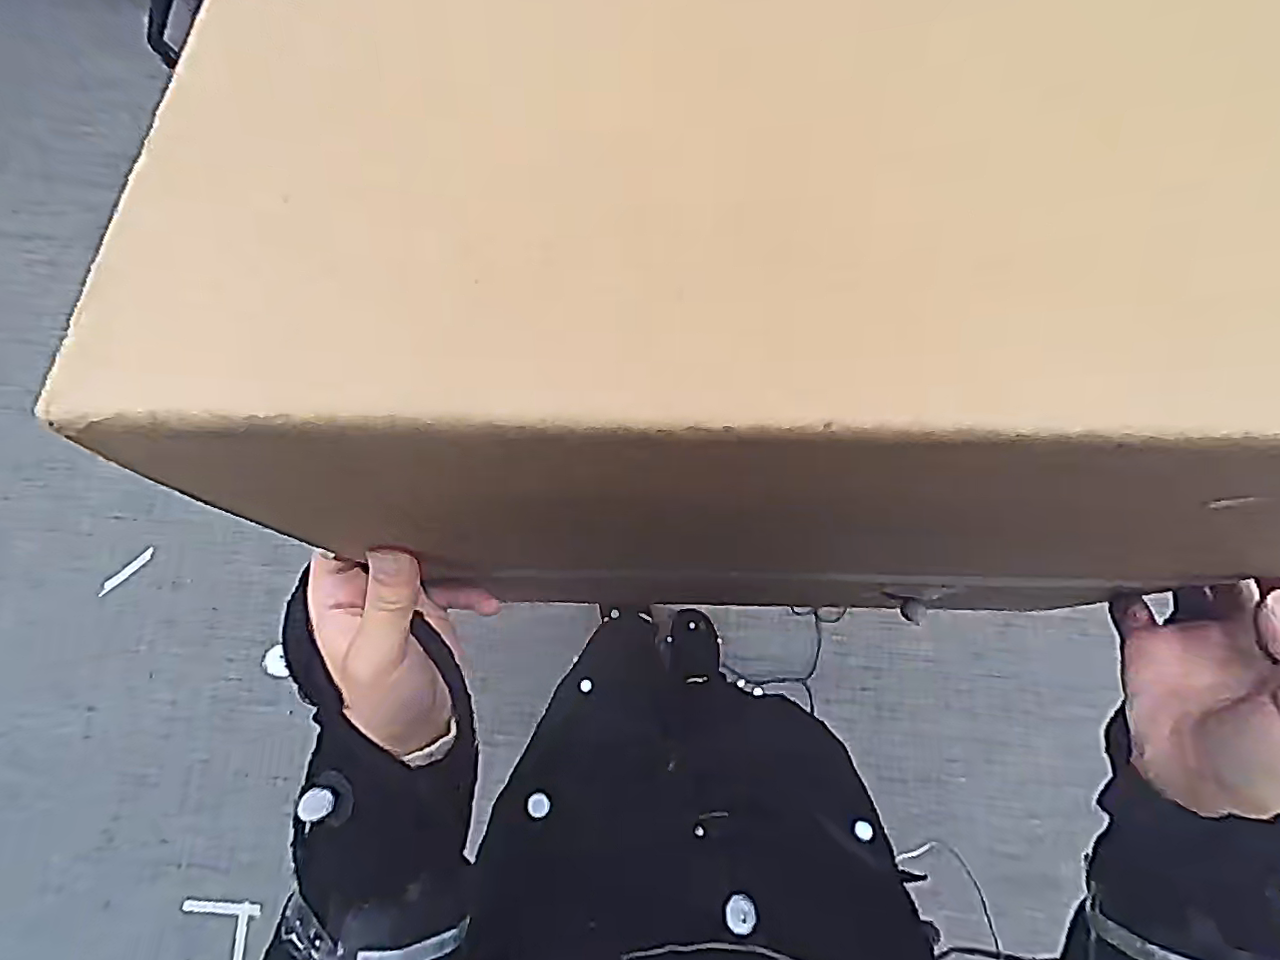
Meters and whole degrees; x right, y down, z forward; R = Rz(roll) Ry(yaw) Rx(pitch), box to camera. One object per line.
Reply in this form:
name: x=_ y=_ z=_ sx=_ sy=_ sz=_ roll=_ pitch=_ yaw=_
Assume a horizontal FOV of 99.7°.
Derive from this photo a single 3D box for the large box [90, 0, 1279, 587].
large box: x=0.078 y=-0.116 z=0.299 sx=0.408 sy=0.320 sz=0.320 roll=0 pitch=72 yaw=0
